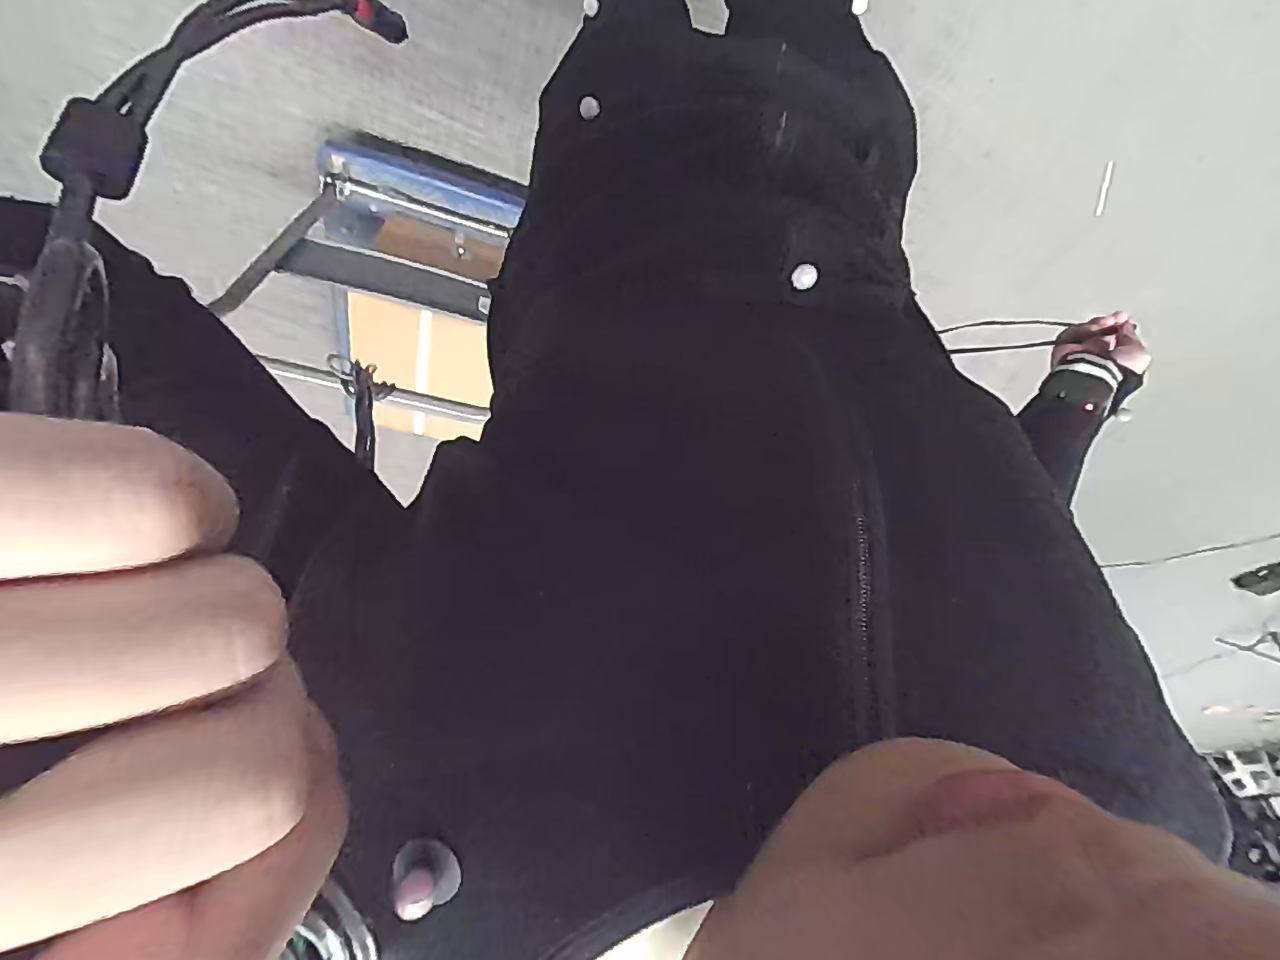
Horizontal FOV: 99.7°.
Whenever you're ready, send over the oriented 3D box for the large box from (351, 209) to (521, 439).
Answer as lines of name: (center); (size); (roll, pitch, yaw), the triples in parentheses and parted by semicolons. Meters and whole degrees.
large box: (-0.495, -0.371, 1.341); (0.320, 0.320, 0.408); (14, 140, -16)
